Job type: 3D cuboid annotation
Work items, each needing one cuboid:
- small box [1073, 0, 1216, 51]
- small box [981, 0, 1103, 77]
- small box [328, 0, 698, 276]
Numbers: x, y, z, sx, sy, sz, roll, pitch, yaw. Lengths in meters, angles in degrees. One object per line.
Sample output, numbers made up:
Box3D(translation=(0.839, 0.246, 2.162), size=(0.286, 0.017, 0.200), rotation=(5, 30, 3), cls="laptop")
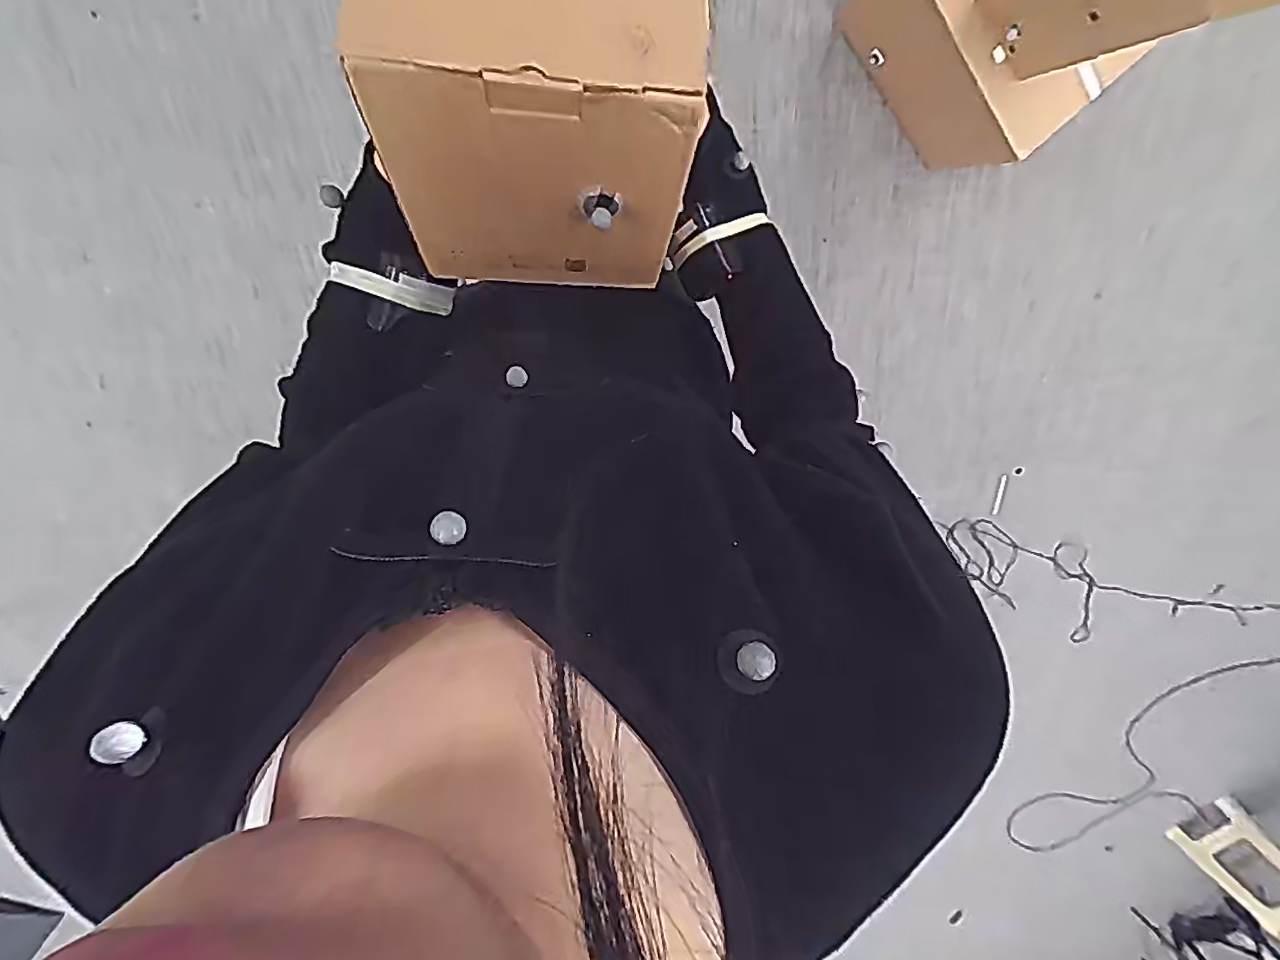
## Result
Box3D(translation=(0.706, -0.713, 0.696), size=(0.168, 0.176, 0.179), rotation=(41, 105, -22), cls="small box")
Box3D(translation=(0.688, -0.783, 0.843), size=(0.168, 0.176, 0.179), rotation=(40, 107, -22), cls="small box")
Box3D(translation=(-0.064, -0.250, 0.333), size=(0.168, 0.176, 0.179), rotation=(1, 77, -8), cls="small box")
